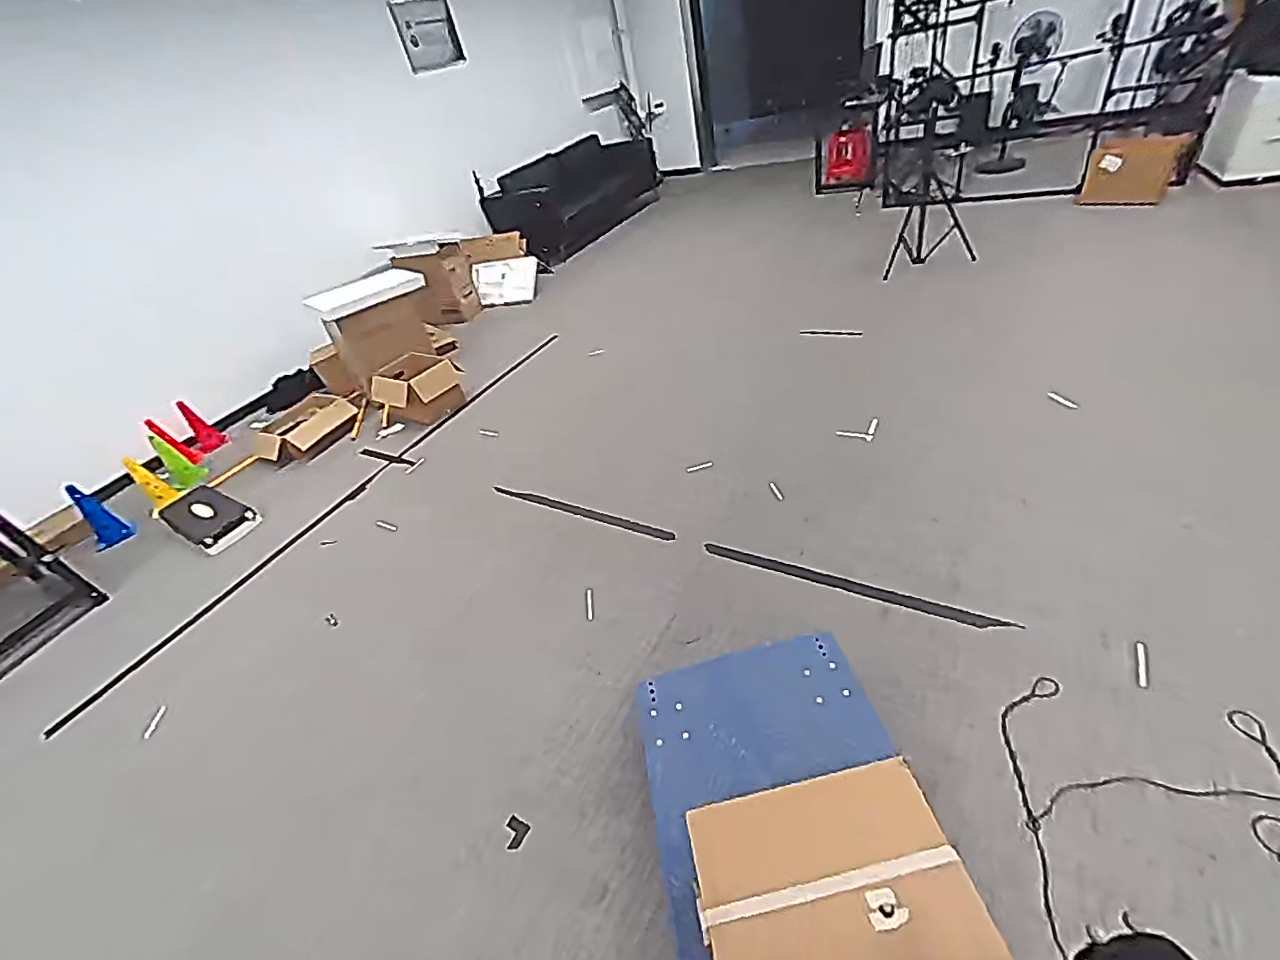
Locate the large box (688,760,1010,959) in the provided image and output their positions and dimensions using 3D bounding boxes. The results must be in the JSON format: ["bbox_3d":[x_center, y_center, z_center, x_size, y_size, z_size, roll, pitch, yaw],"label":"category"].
[{"bbox_3d":[0.327,0.757,0.937,0.408,0.320,0.320,-14,38,-1],"label":"large box"}]
